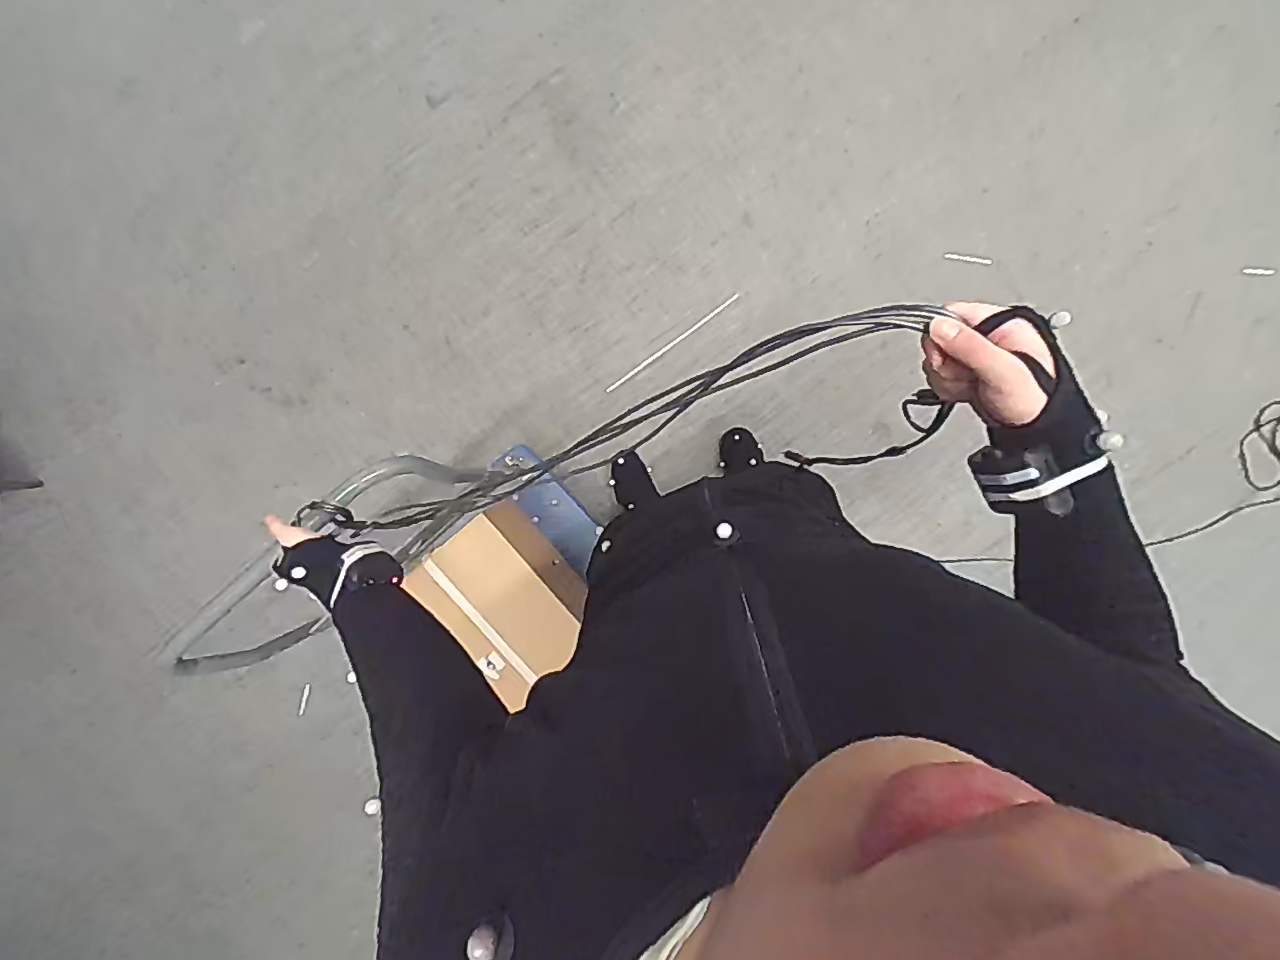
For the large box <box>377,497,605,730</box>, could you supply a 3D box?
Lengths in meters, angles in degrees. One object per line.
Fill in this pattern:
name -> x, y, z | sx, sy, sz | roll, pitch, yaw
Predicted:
large box -> -0.330, 0.296, 1.315 | 0.320, 0.320, 0.408 | -40, 94, 1
